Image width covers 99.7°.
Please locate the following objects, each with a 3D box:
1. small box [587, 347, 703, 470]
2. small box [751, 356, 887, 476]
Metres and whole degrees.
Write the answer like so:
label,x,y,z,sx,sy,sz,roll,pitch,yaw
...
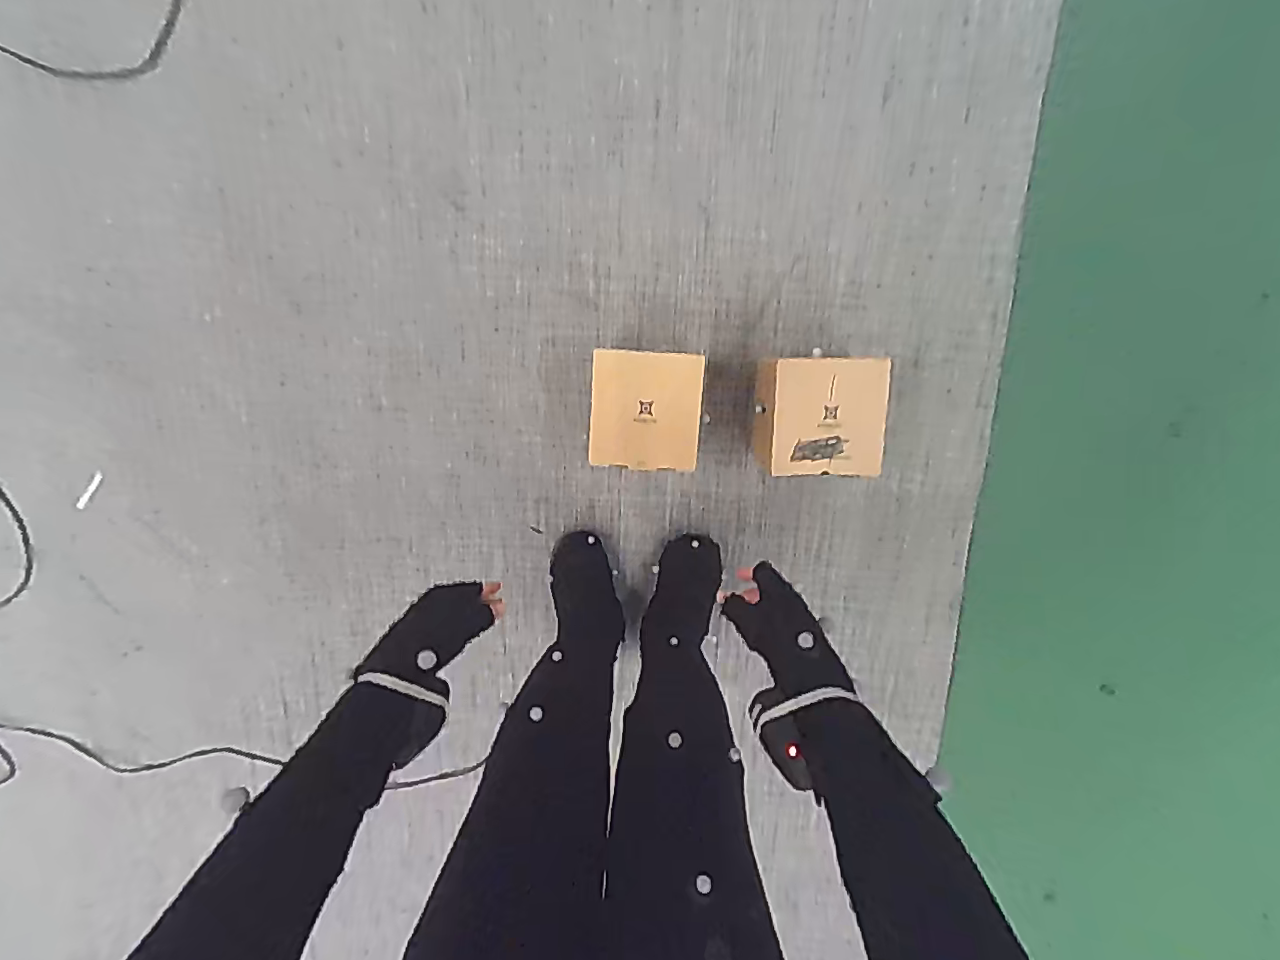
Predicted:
label,x,y,z,sx,sy,sz,roll,pitch,yaw
small box,0.008,-0.121,0.885,0.168,0.176,0.179,4,103,2
small box,0.276,-0.109,0.875,0.168,0.176,0.179,1,102,2
